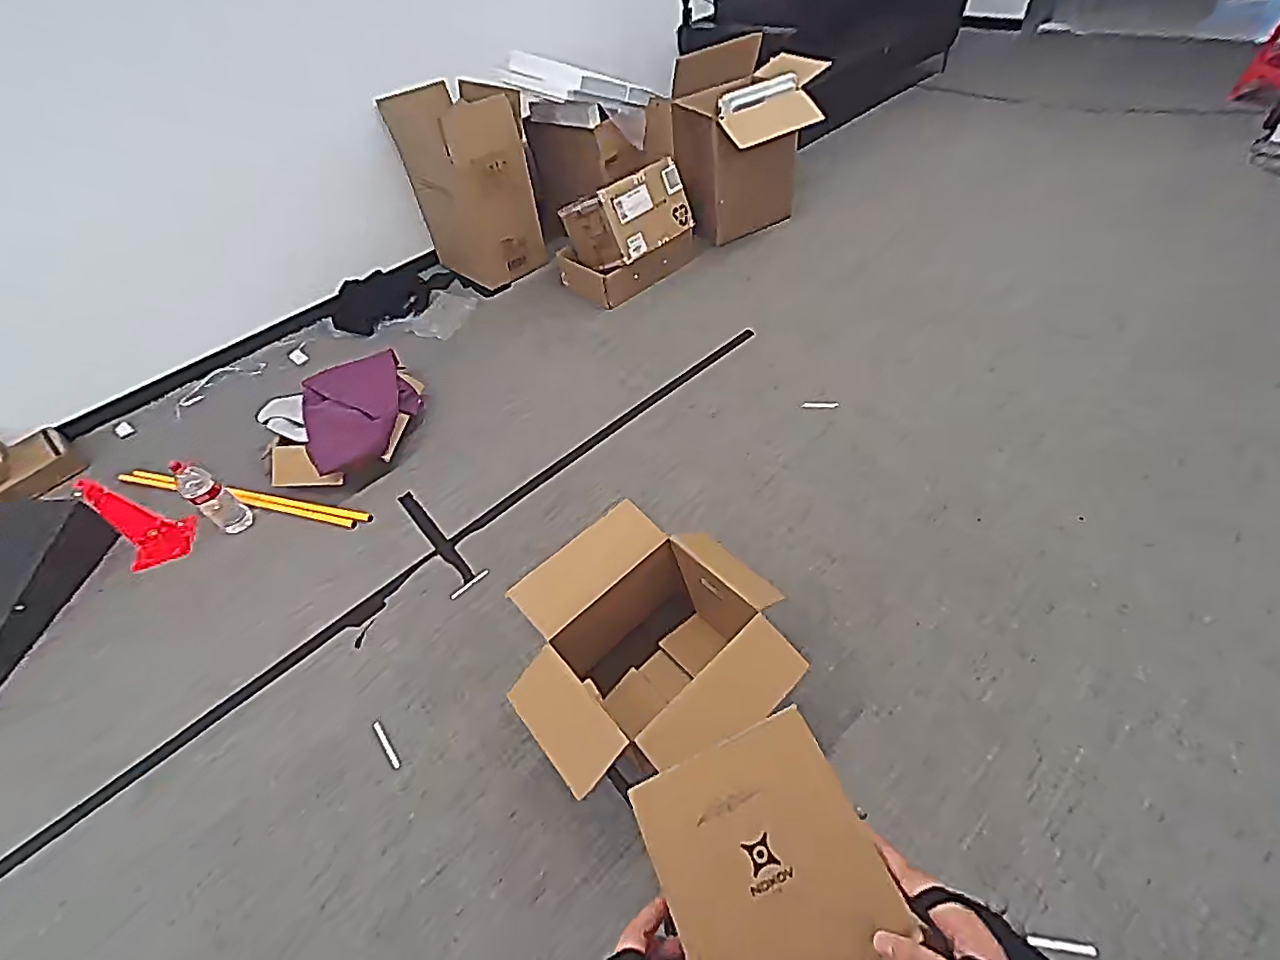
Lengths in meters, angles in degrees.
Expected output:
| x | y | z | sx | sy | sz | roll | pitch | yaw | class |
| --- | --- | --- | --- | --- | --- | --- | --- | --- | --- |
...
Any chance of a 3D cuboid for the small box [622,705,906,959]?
| x | y | z | sx | sy | sz | roll | pitch | yaw | class |
| --- | --- | --- | --- | --- | --- | --- | --- | --- | --- |
| 0.104 | 0.337 | 0.499 | 0.168 | 0.176 | 0.179 | -25 | 57 | -5 | small box |
